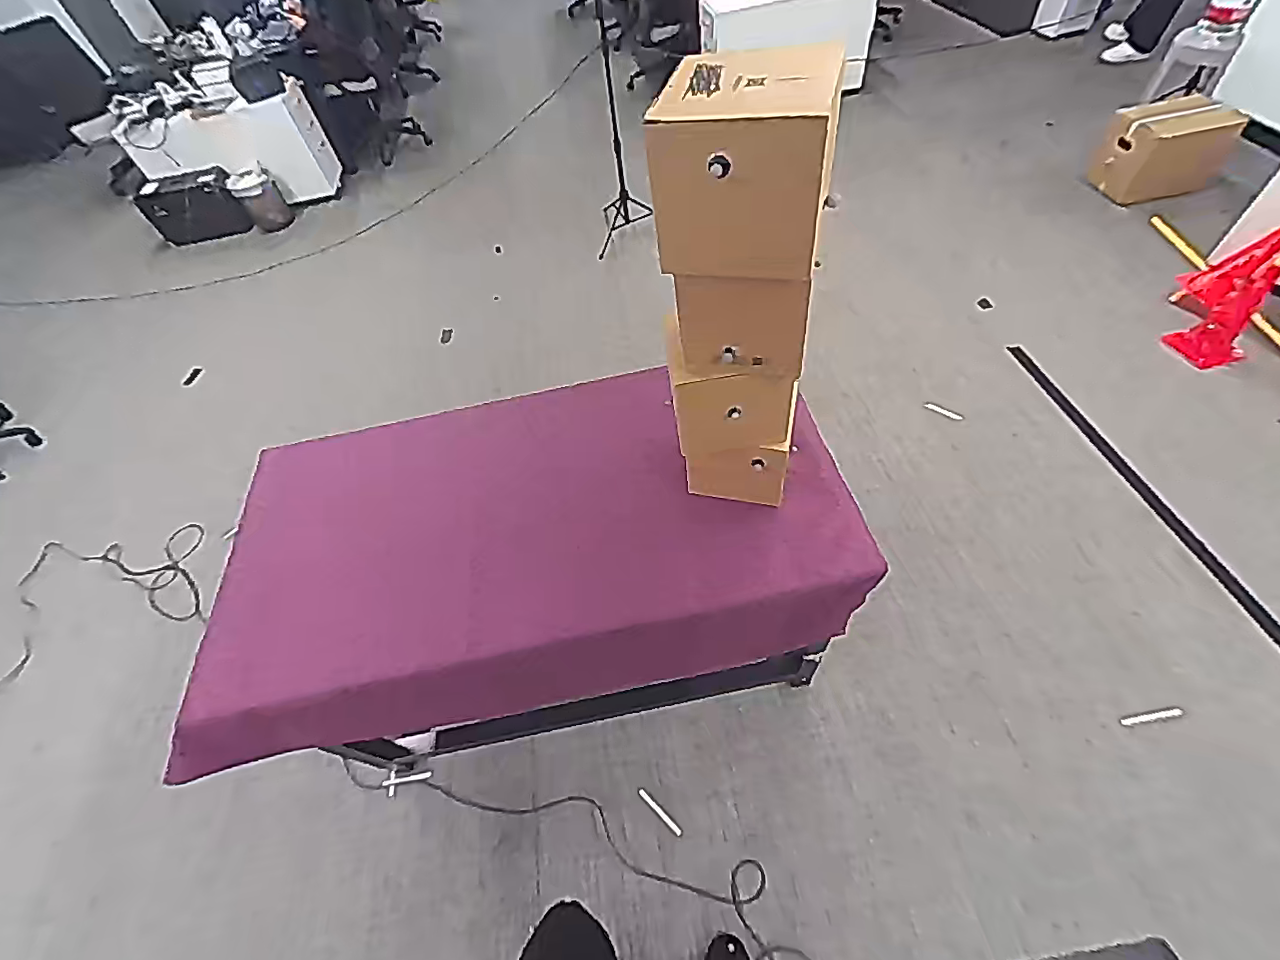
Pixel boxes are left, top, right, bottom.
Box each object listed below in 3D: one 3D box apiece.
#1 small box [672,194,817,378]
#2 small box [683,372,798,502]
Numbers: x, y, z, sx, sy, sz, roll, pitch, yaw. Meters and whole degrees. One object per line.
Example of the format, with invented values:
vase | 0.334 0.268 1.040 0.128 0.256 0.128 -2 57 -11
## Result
small box | 0.145 -0.264 0.741 0.168 0.176 0.179 5 56 14
small box | 0.186 -0.076 1.006 0.179 0.176 0.168 9 56 15
